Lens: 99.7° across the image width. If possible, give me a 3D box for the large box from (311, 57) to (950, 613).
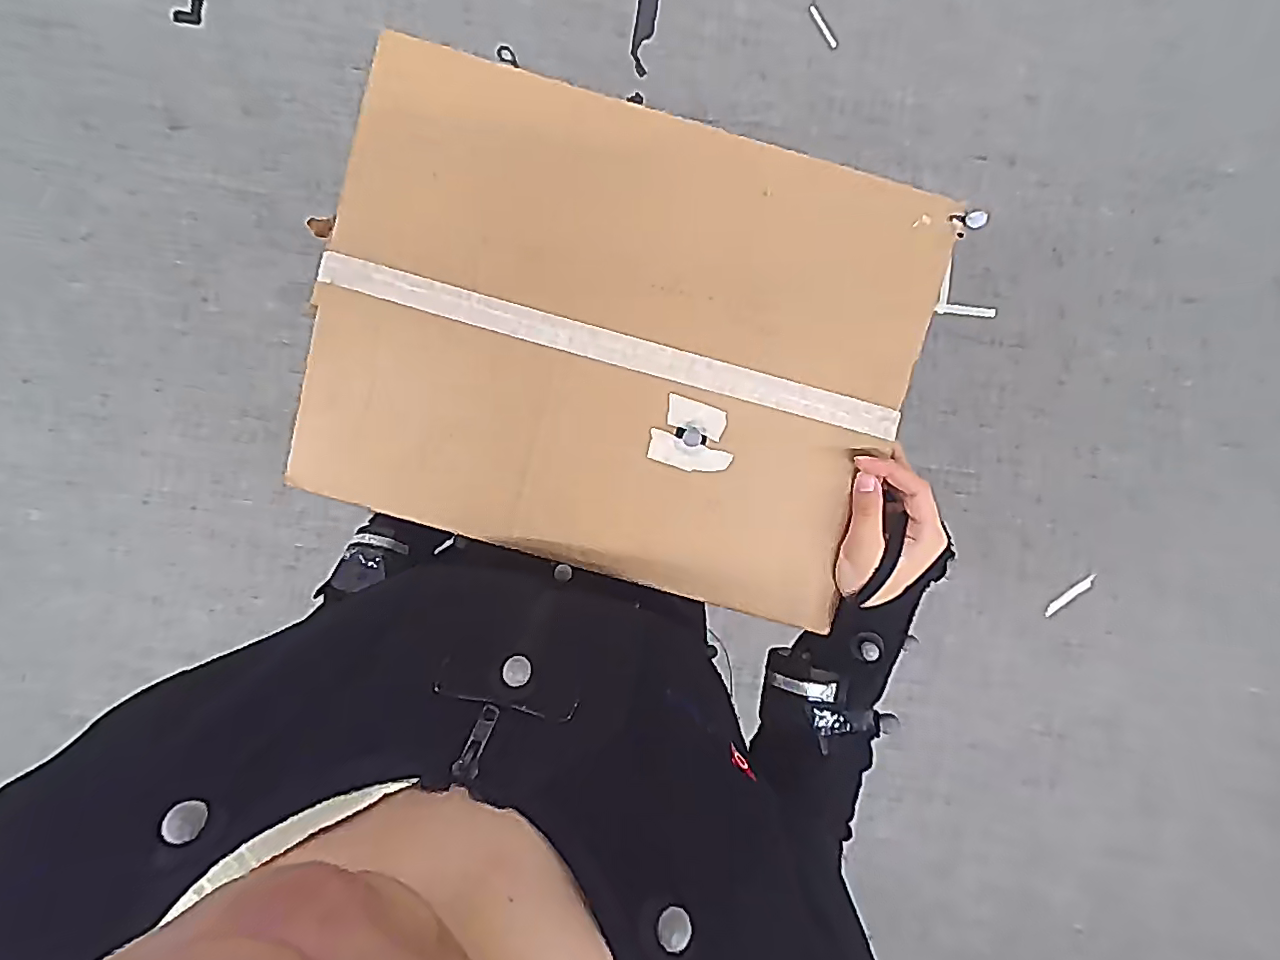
[{"bbox_3d":[-0.014,-0.107,0.532,0.408,0.320,0.320,15,96,-2],"label":"large box"}]
